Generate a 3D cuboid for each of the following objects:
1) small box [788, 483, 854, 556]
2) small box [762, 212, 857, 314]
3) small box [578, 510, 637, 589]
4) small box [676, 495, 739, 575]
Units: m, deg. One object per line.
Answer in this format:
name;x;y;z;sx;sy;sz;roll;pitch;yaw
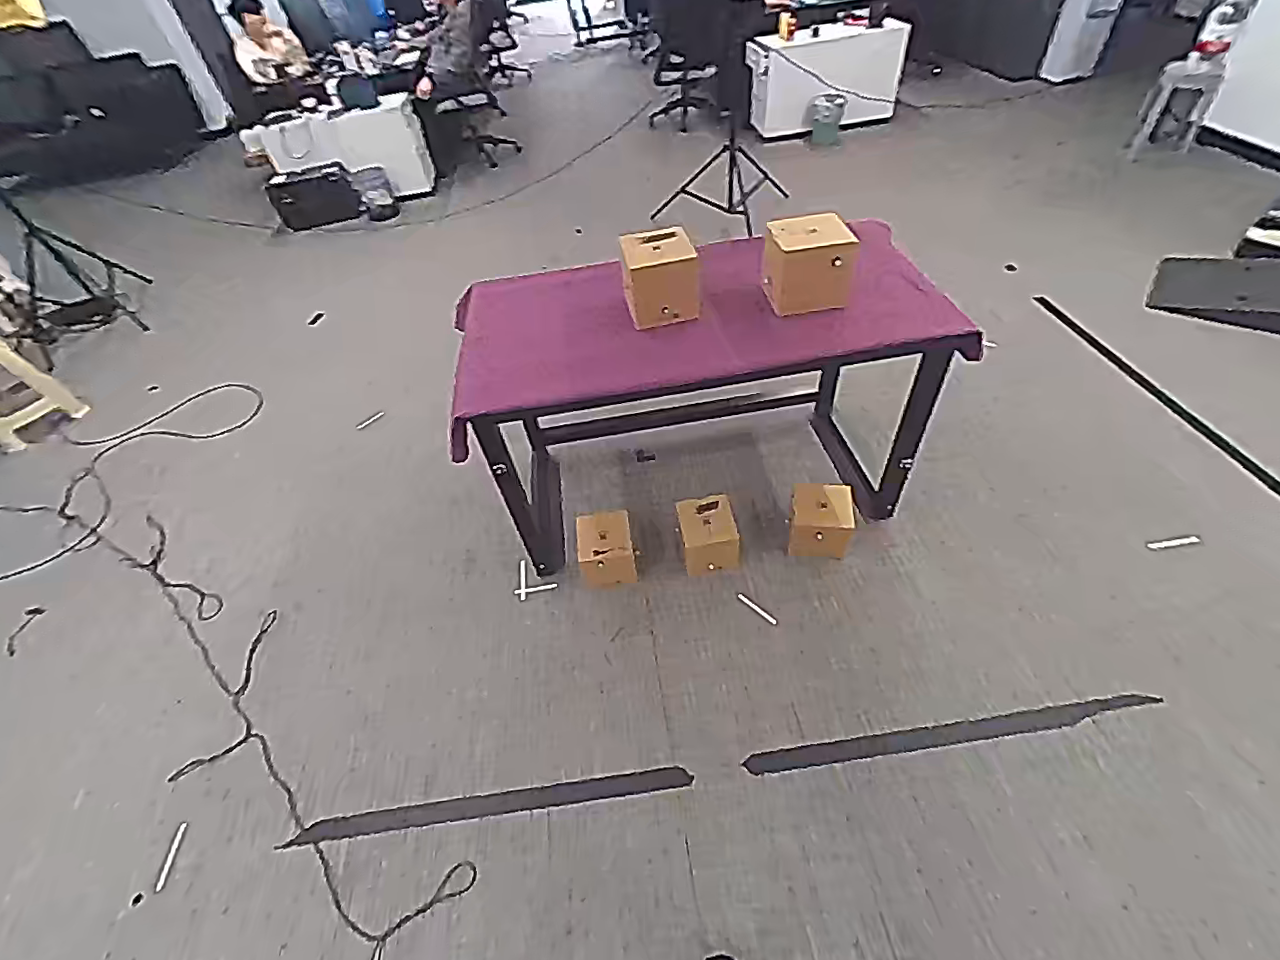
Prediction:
small box;0.565;0.128;1.709;0.179;0.176;0.168;2;50;12
small box;0.409;-0.533;1.336;0.179;0.176;0.168;-9;47;1
small box;-0.102;0.223;1.716;0.168;0.176;0.179;-8;46;1
small box;0.211;0.175;1.714;0.168;0.176;0.179;-10;49;-1
